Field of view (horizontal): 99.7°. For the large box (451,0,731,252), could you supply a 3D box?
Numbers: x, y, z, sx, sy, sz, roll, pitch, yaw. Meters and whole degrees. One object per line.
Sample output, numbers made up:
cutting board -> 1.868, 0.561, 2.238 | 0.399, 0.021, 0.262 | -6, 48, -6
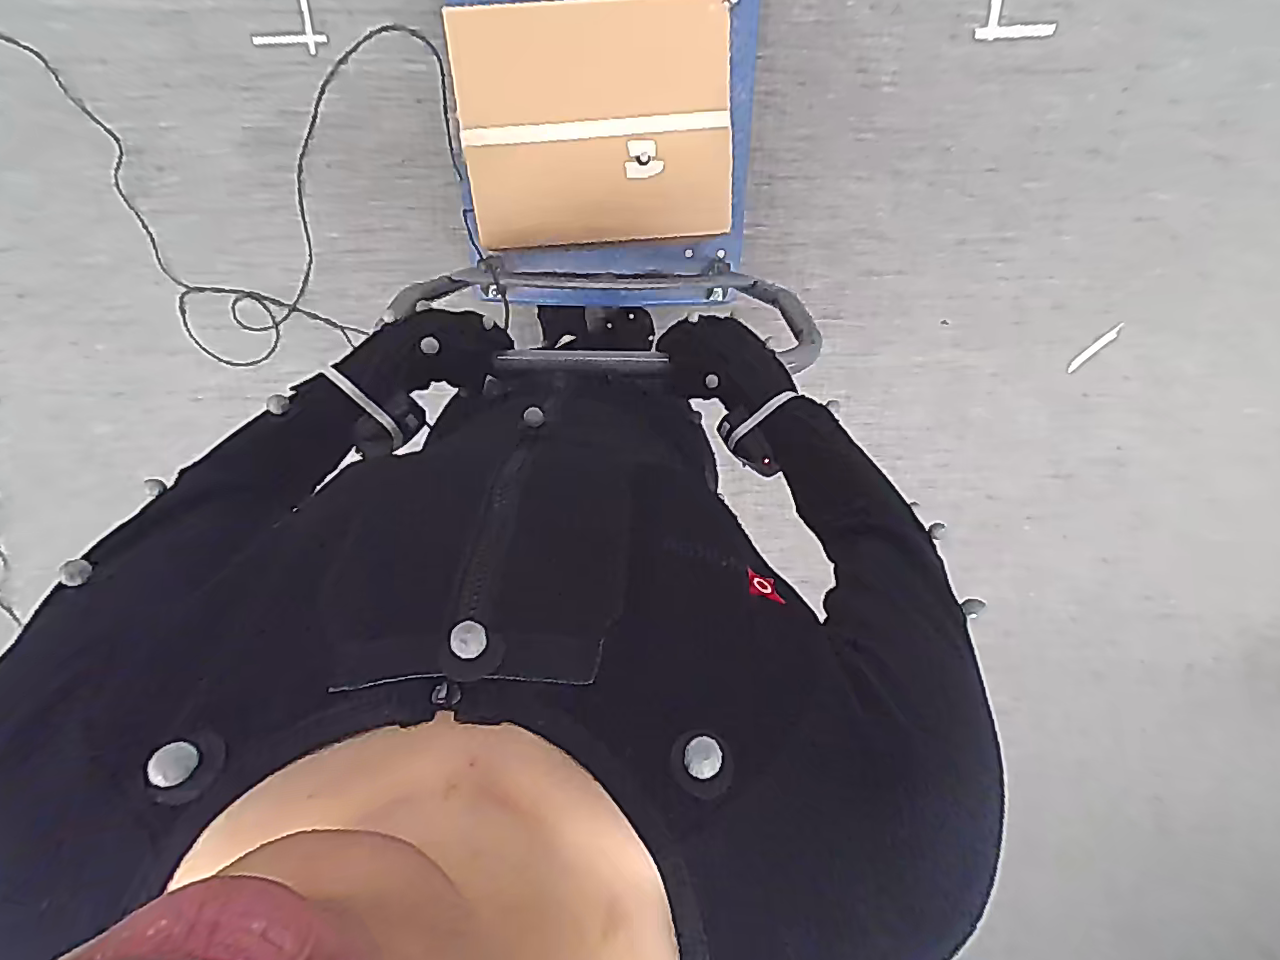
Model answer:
large box -> -0.071, -0.595, 0.963 | 0.408, 0.320, 0.320 | -5, 112, -2
